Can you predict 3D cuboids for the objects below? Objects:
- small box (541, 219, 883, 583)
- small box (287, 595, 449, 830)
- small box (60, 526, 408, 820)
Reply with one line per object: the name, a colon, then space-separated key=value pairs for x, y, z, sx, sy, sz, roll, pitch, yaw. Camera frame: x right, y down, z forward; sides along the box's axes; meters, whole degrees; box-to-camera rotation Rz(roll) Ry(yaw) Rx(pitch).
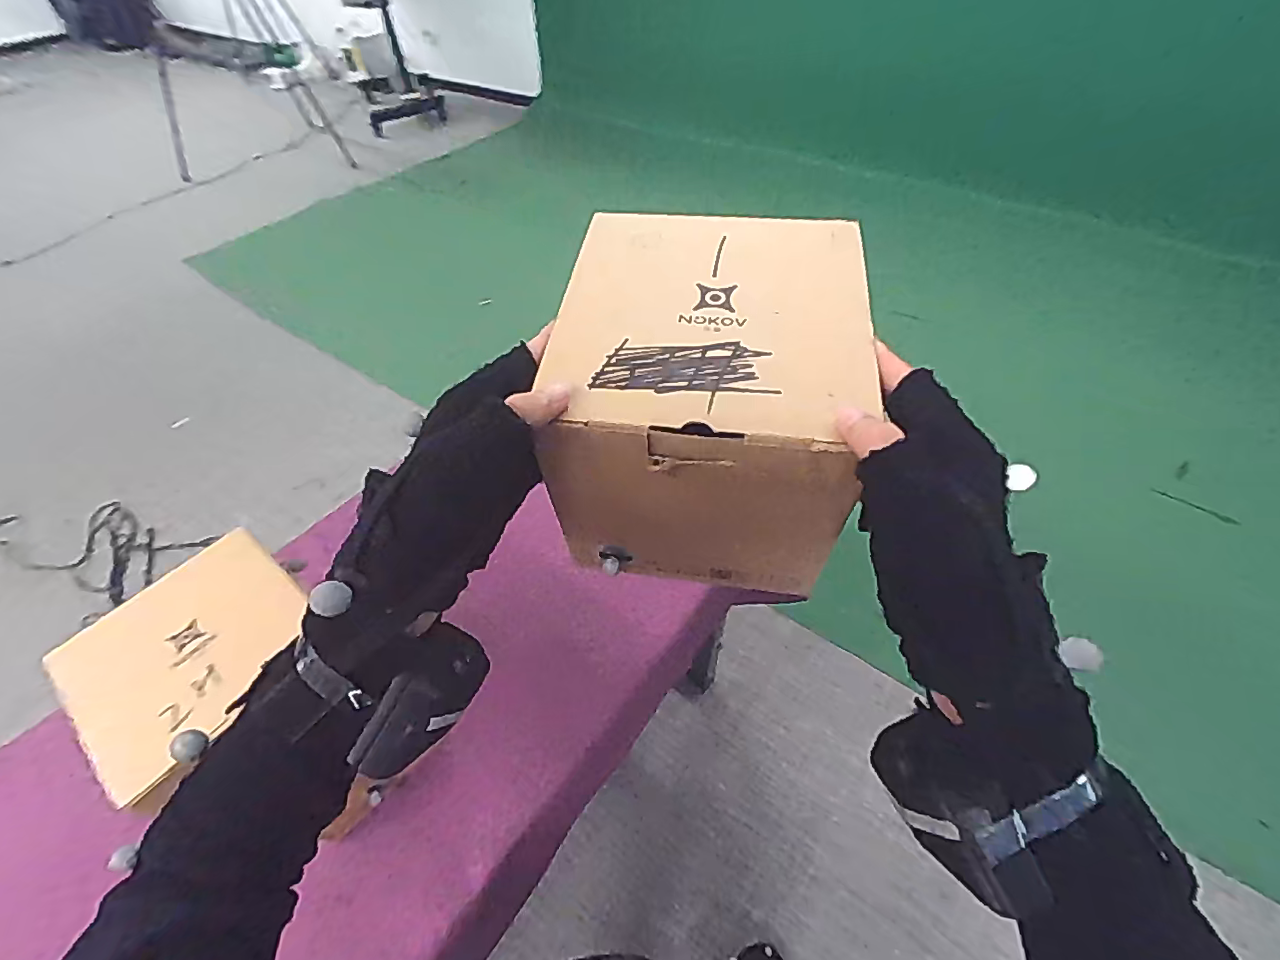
small box: x=0.049 y=-0.047 z=0.364 sx=0.168 sy=0.176 sz=0.179 roll=6 pitch=56 yaw=8
small box: x=-0.362 y=0.278 z=0.642 sx=0.179 sy=0.176 sz=0.168 roll=33 pitch=59 yaw=26
small box: x=-0.359 y=0.183 z=0.508 sx=0.179 sy=0.176 sz=0.168 roll=31 pitch=59 yaw=25
